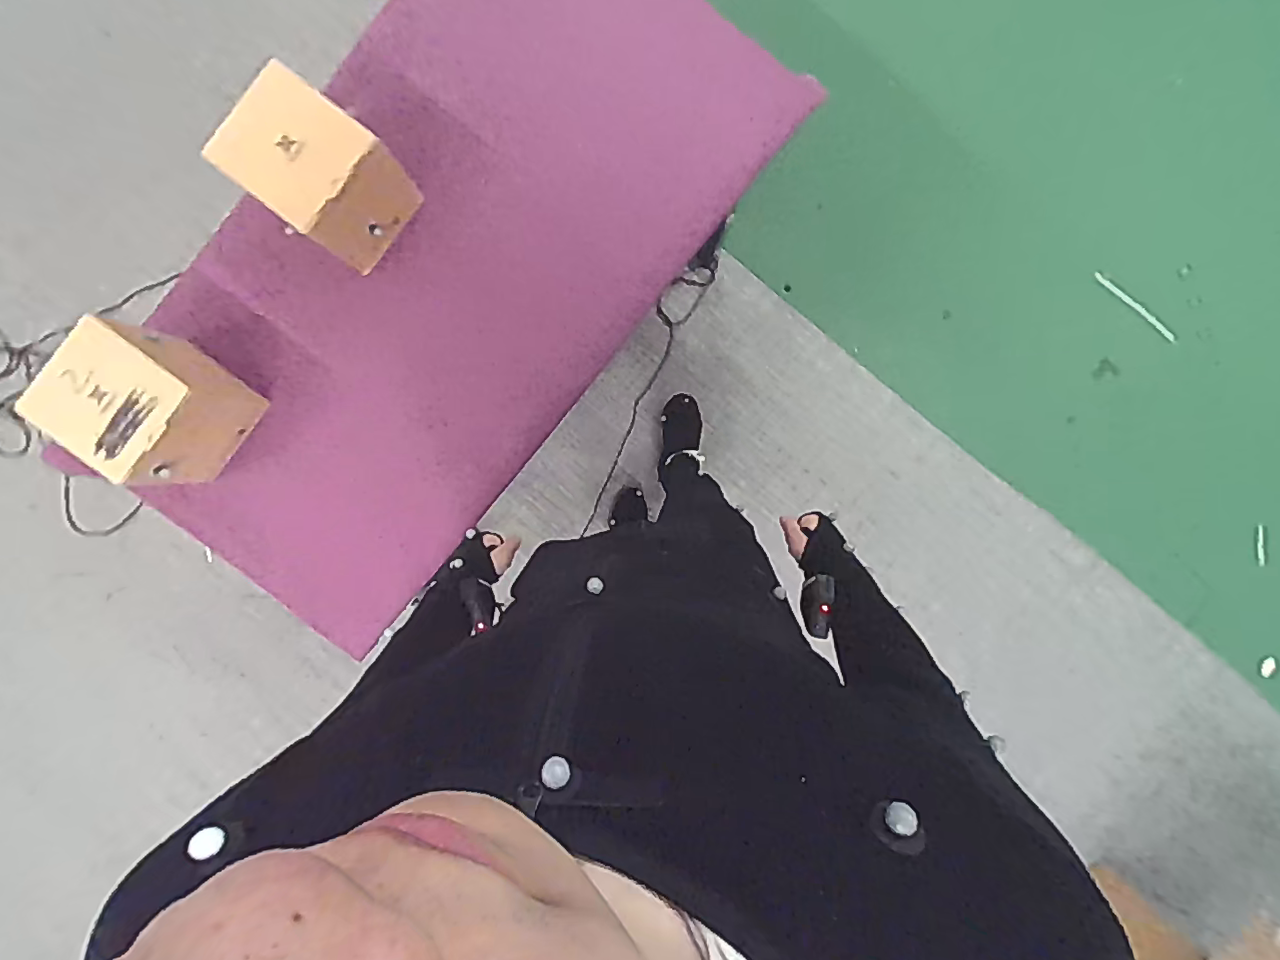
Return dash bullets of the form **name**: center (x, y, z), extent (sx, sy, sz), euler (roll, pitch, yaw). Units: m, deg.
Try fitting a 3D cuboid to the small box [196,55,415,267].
- **small box**: center (-0.473, -0.449, 0.795), extent (0.179, 0.176, 0.168), euler (37, 90, -3)
